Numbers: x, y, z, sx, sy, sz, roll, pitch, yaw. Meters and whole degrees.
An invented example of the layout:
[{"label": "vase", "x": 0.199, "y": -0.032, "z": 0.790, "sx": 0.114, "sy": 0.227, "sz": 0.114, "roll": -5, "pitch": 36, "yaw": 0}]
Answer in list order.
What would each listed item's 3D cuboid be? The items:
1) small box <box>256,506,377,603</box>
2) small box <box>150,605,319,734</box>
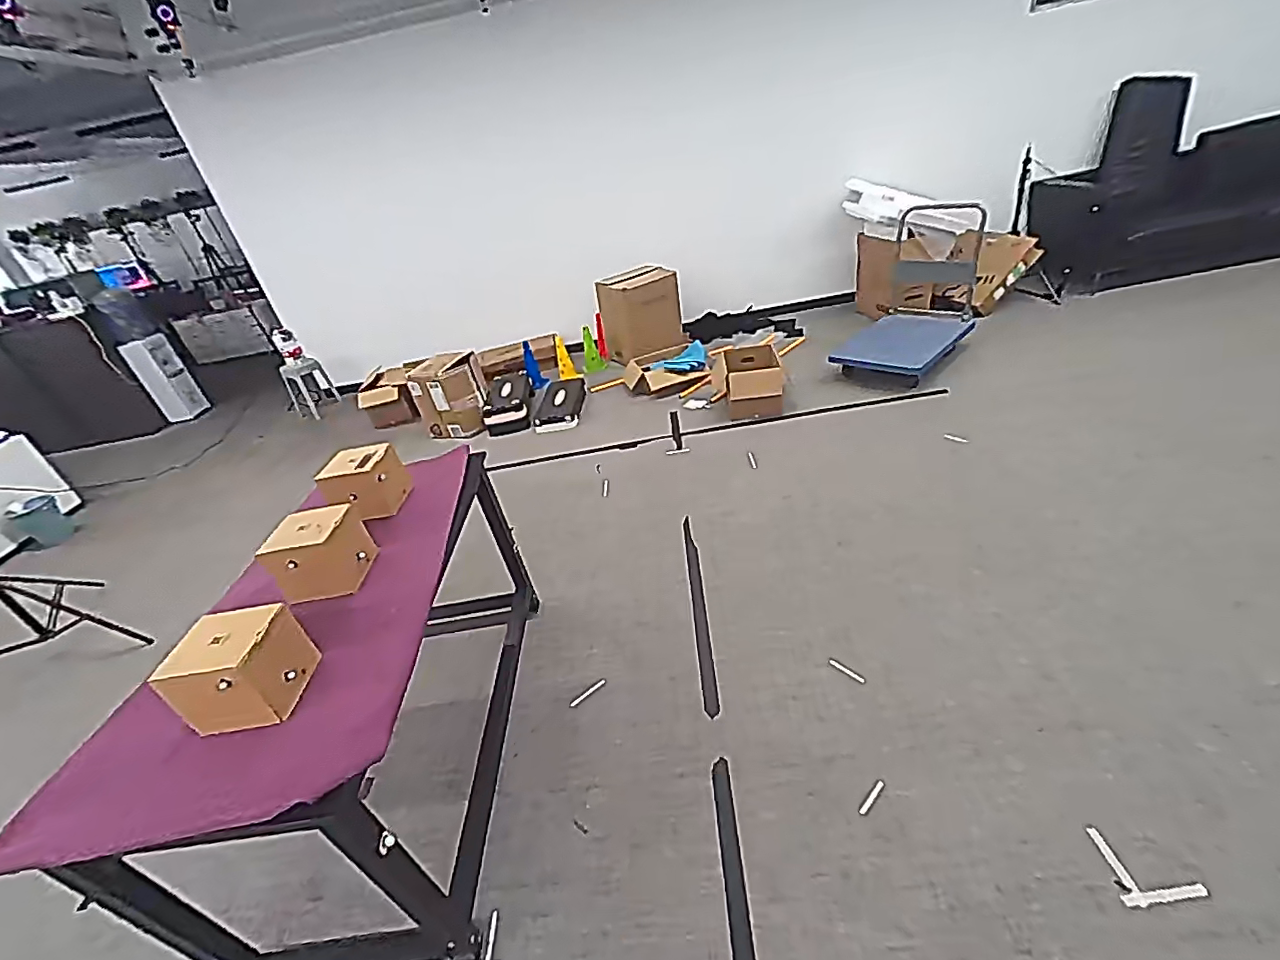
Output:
[{"label": "small box", "x": -0.812, "y": 0.192, "z": 1.377, "sx": 0.179, "sy": 0.176, "sz": 0.168, "roll": -10, "pitch": 33, "yaw": 3}, {"label": "small box", "x": -0.791, "y": 0.379, "z": 1.077, "sx": 0.179, "sy": 0.176, "sz": 0.168, "roll": -10, "pitch": 31, "yaw": 2}]
